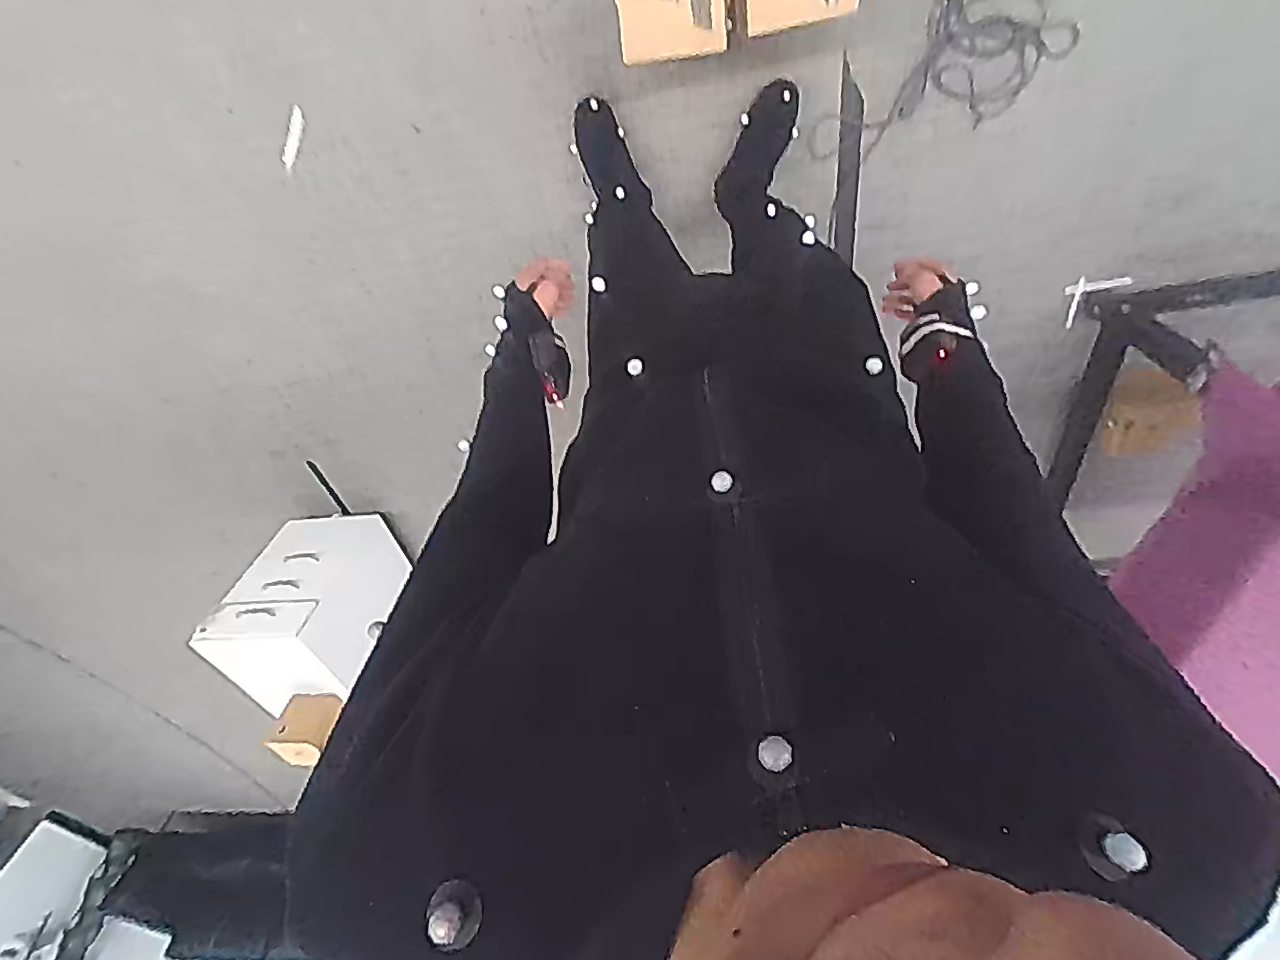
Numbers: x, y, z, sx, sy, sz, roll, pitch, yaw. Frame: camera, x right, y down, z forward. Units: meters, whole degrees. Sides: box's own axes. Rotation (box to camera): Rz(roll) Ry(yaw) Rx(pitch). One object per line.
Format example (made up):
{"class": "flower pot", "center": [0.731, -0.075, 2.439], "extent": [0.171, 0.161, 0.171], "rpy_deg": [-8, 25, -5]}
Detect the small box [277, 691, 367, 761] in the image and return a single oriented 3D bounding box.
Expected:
{"class": "small box", "center": [-1.095, 0.851, 1.878], "extent": [0.179, 0.176, 0.168], "rpy_deg": [-5, 130, 11]}

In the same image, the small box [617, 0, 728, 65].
{"class": "small box", "center": [0.057, -0.814, 0.906], "extent": [0.179, 0.176, 0.168], "rpy_deg": [-1, 130, 9]}
